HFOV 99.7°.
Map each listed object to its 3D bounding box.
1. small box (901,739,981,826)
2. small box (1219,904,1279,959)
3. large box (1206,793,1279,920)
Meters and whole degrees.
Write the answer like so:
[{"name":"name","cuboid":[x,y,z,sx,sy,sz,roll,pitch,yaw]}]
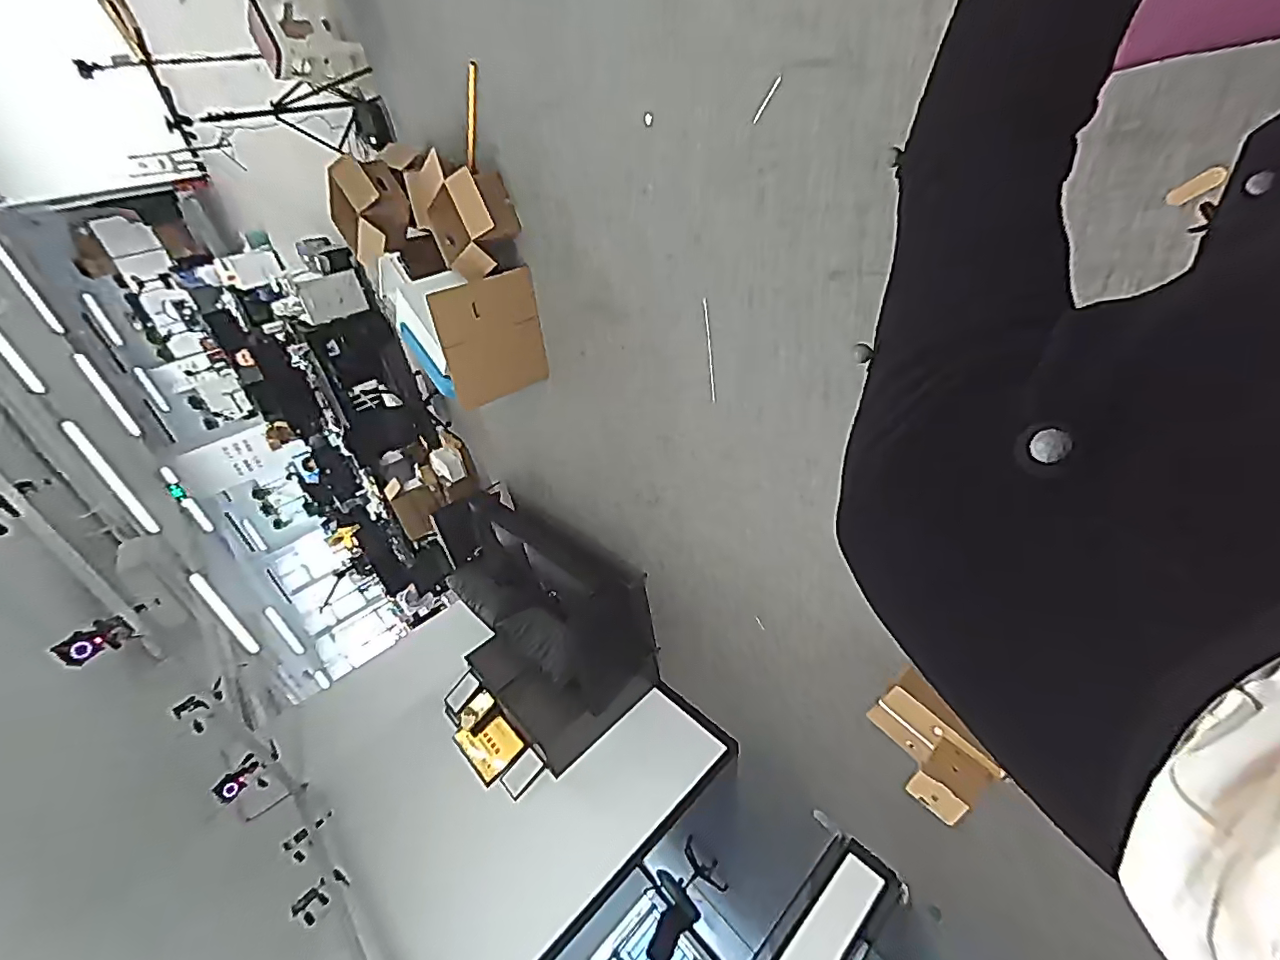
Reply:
[{"name":"small box","cuboid":[1.049,1.046,1.879,0.168,0.176,0.179,35,141,34]},{"name":"small box","cuboid":[1.542,1.166,1.284,0.179,0.176,0.168,-21,99,59]},{"name":"large box","cuboid":[1.772,1.068,1.352,0.408,0.320,0.320,-21,101,58]}]
